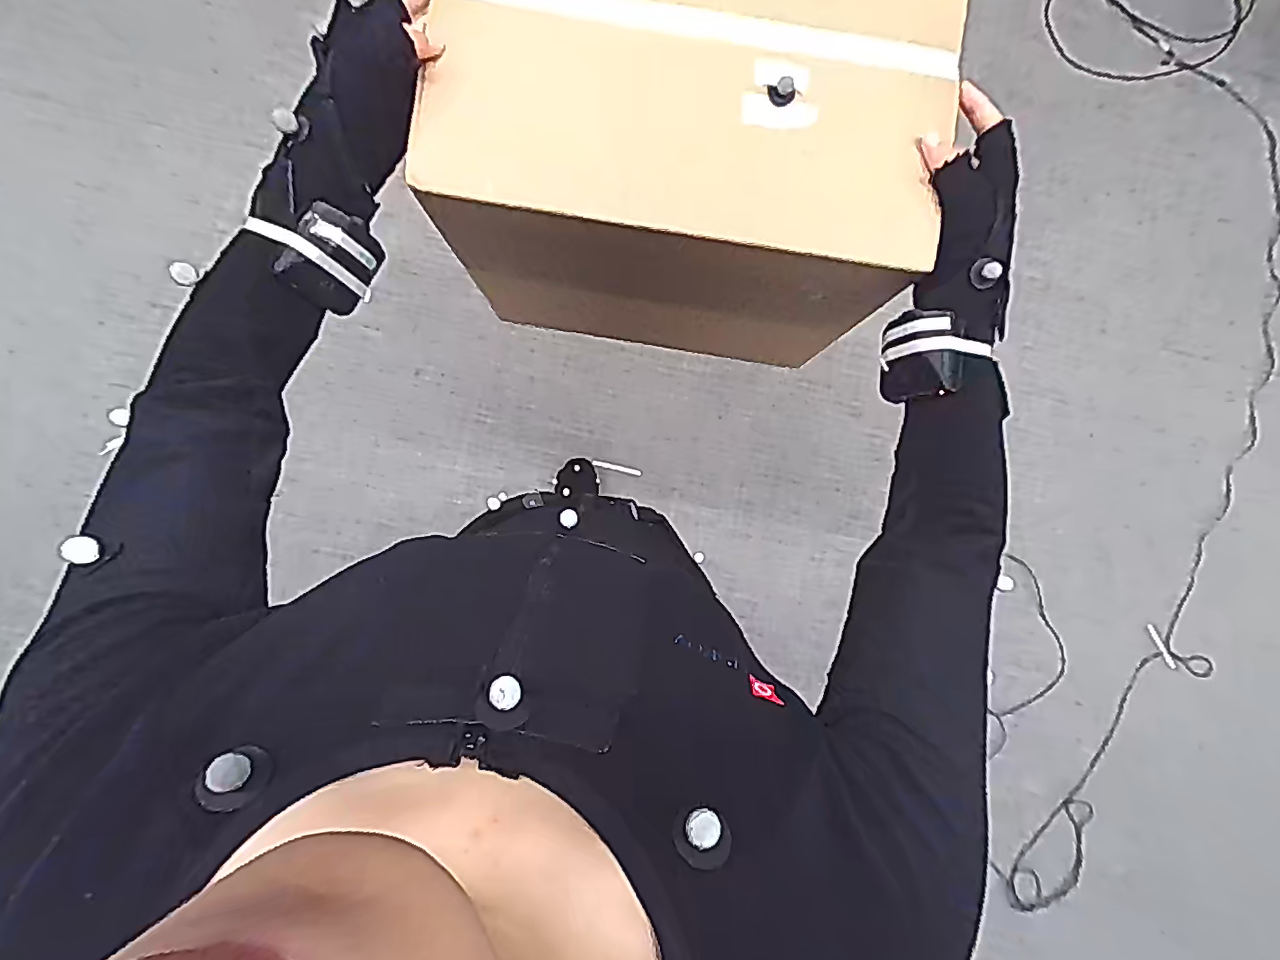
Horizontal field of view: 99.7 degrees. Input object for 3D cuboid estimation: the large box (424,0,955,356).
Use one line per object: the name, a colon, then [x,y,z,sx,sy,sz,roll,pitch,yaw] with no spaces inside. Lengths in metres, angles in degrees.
large box: [0.040,-0.346,0.575,0.408,0.320,0.320,8,88,-3]
